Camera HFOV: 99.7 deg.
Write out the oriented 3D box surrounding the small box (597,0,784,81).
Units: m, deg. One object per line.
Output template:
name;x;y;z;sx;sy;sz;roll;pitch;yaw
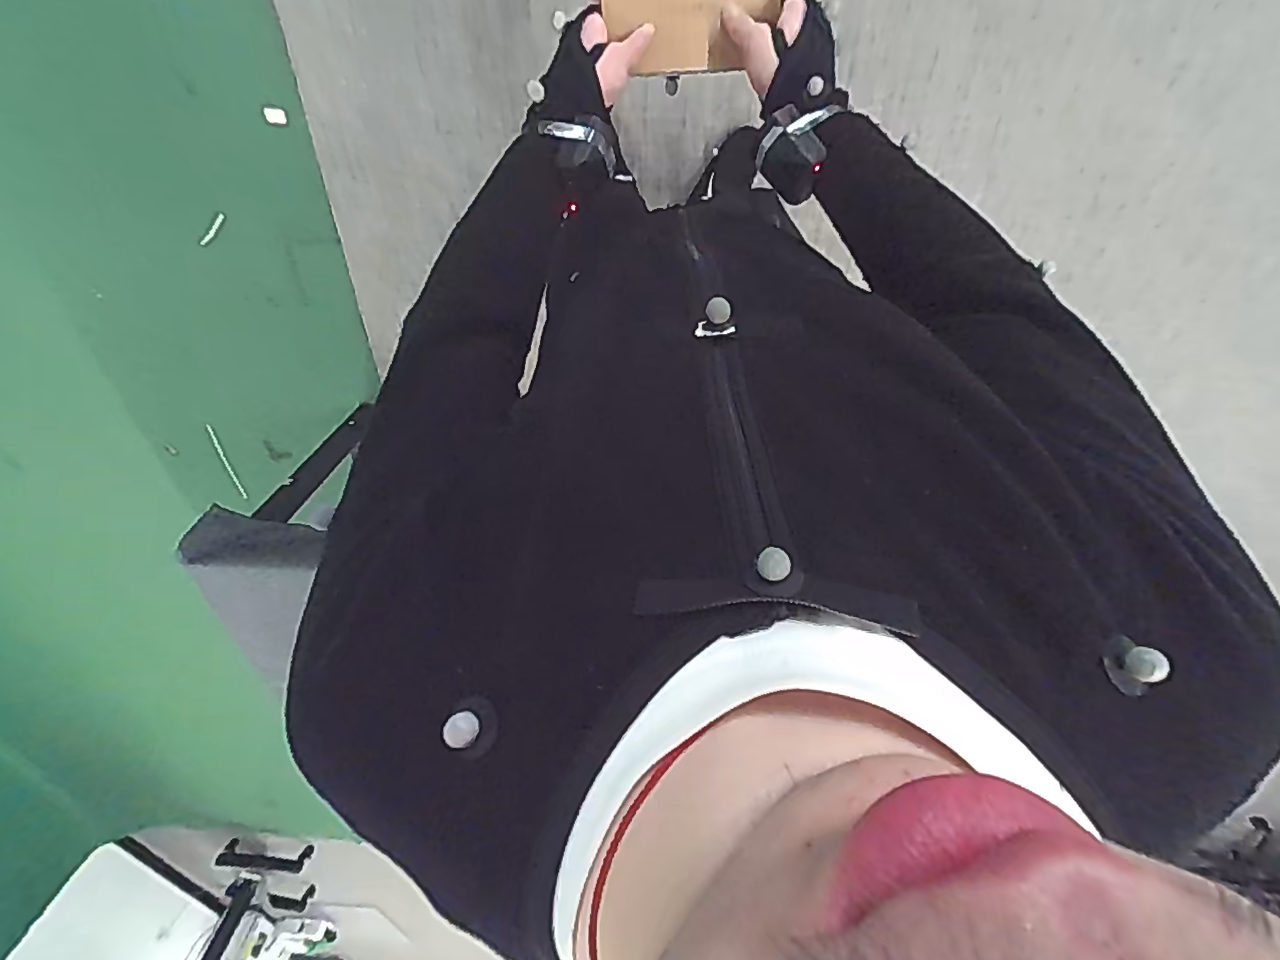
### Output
small box;0.045;-0.490;0.511;0.168;0.176;0.179;1;126;1
